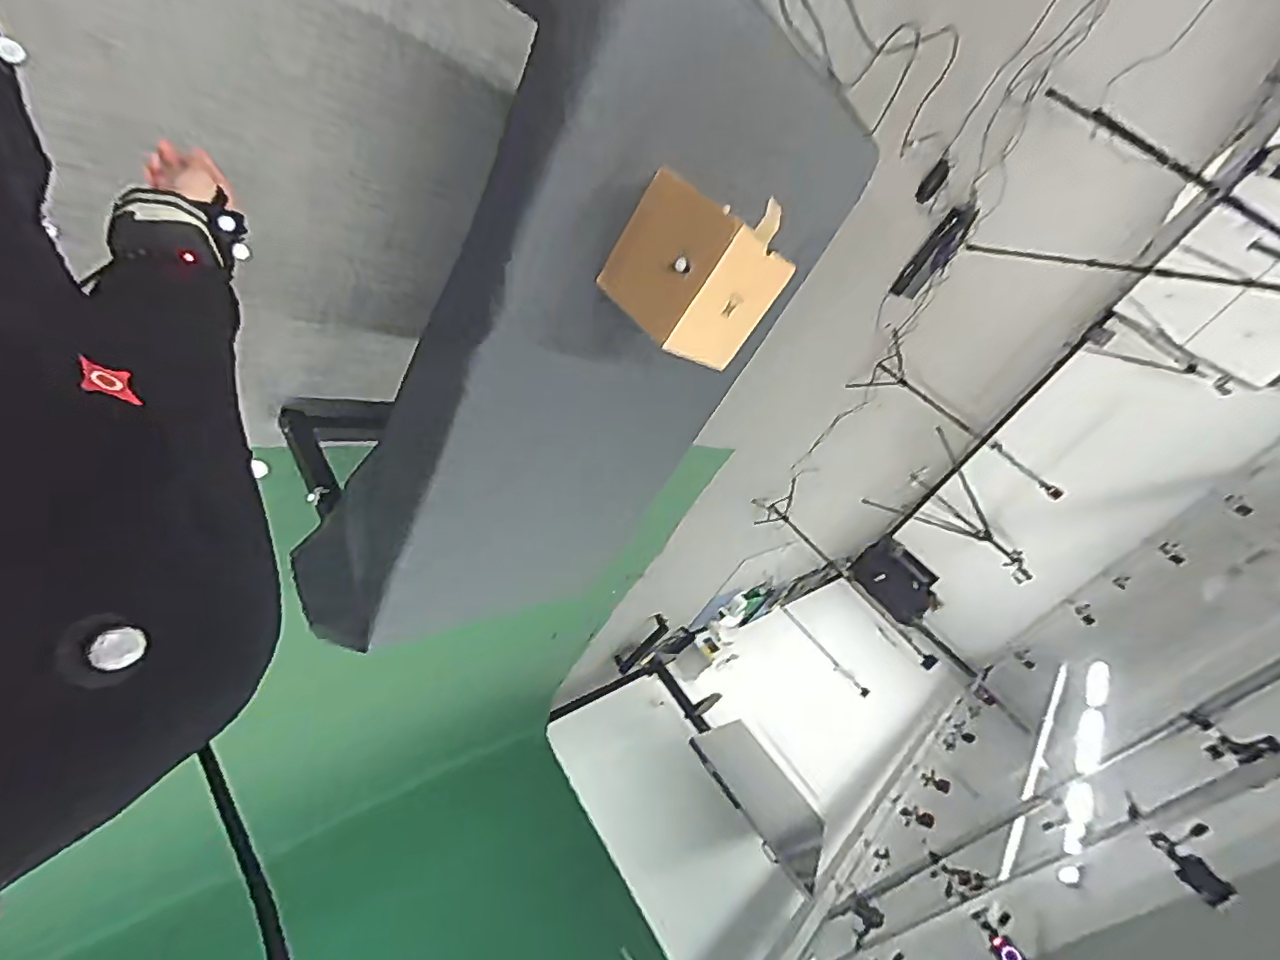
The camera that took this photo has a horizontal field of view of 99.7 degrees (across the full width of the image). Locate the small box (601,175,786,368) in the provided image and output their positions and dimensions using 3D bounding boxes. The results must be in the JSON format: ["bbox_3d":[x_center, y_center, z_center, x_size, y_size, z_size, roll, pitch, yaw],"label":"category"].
[{"bbox_3d":[0.069,-0.292,0.778,0.168,0.176,0.179,1,130,-53],"label":"small box"}]
